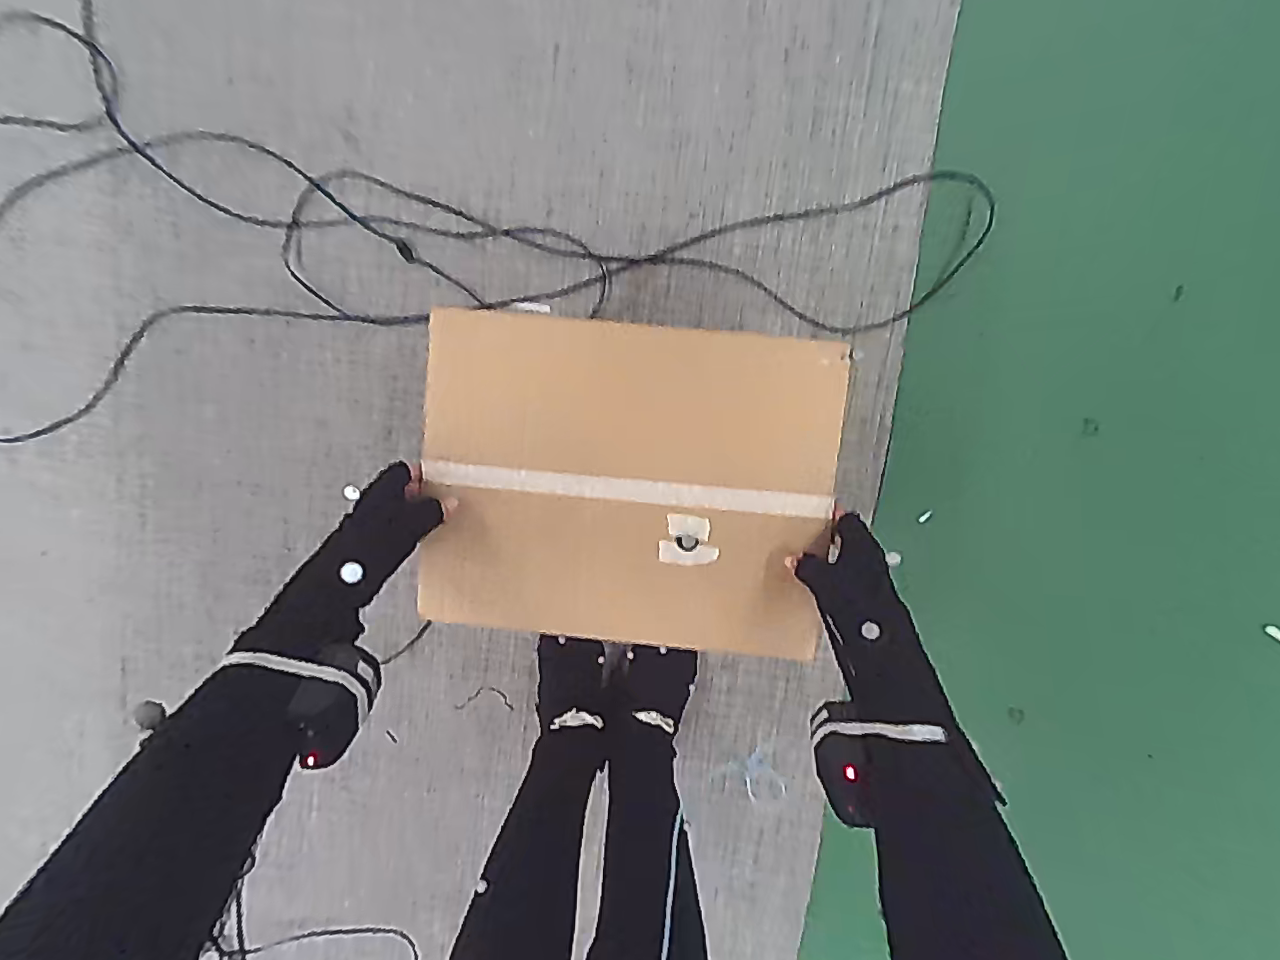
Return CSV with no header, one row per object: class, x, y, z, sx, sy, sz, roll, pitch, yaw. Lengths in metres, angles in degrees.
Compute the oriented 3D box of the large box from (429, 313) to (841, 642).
large box,-0.010,-0.013,0.691,0.408,0.320,0.320,5,97,2
